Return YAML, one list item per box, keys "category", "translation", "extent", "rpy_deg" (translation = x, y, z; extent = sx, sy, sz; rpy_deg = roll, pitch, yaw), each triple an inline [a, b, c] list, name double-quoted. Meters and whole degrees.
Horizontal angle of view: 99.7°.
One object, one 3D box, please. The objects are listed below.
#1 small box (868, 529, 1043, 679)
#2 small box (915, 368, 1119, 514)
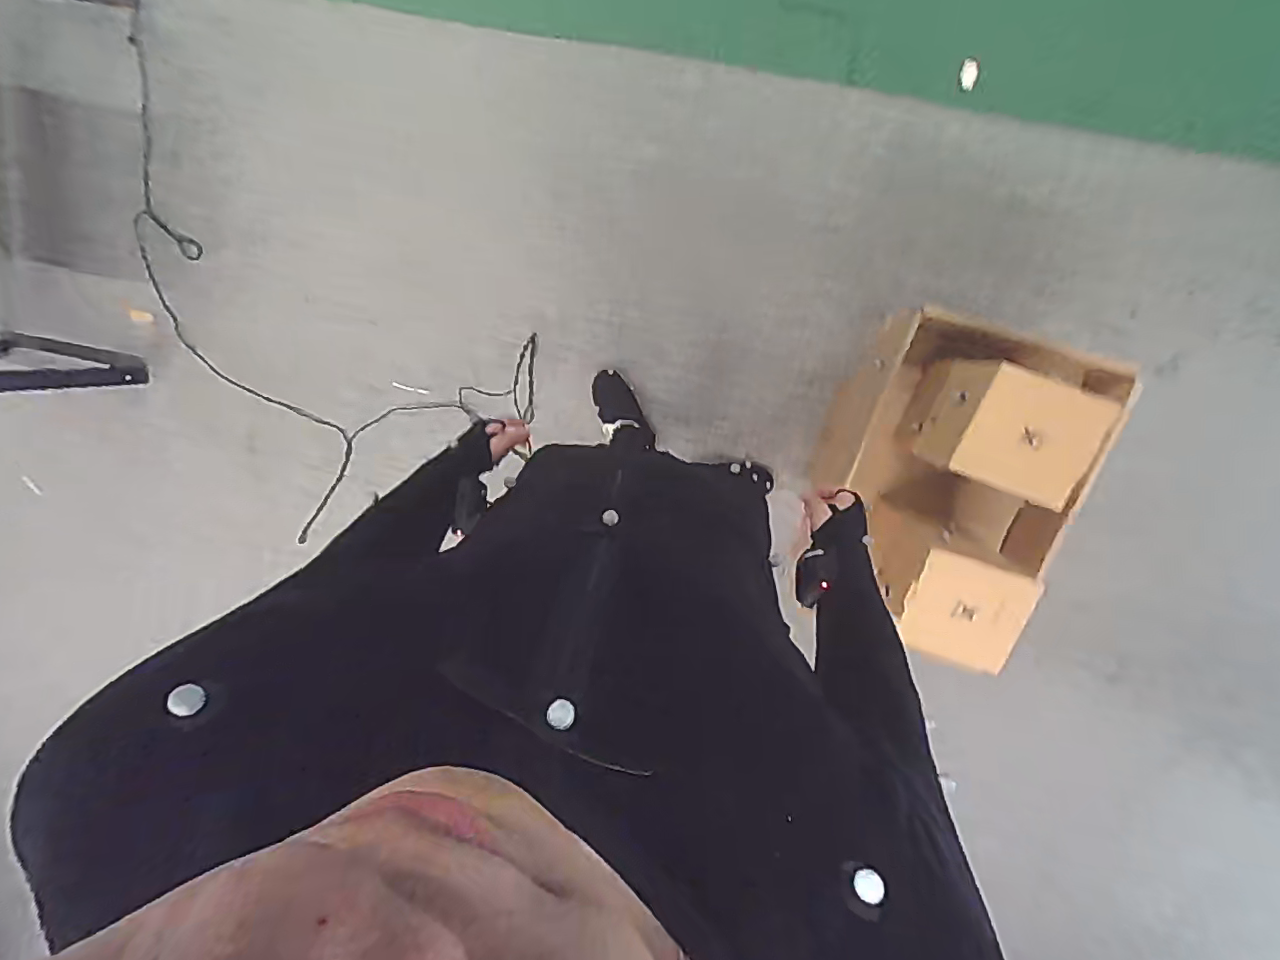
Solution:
- category: "small box"
  translation: [0.518, 0.198, 0.922]
  extent: [0.179, 0.176, 0.168]
  rpy_deg: [19, 105, 4]
- category: "small box"
  translation: [0.575, -0.069, 0.857]
  extent: [0.179, 0.176, 0.168]
  rpy_deg: [22, 104, 3]
